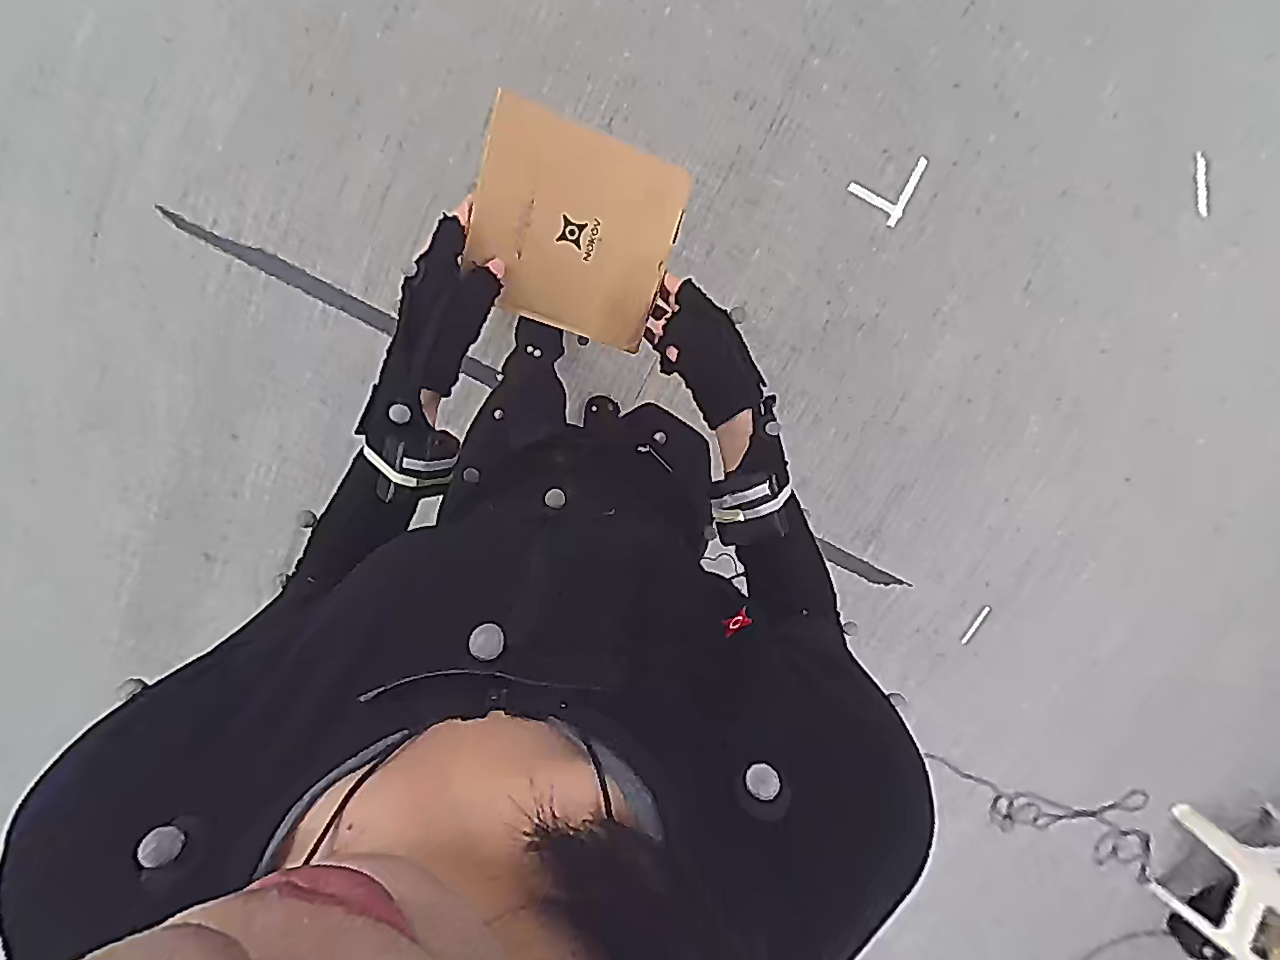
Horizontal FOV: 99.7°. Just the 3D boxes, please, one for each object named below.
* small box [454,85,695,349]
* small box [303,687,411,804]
[{"bbox_3d":[-0.073,-0.249,0.546,0.179,0.176,0.168,15,107,-18],"label":"small box"},{"bbox_3d":[-0.701,0.660,1.357,0.168,0.176,0.179,22,102,-9],"label":"small box"}]
